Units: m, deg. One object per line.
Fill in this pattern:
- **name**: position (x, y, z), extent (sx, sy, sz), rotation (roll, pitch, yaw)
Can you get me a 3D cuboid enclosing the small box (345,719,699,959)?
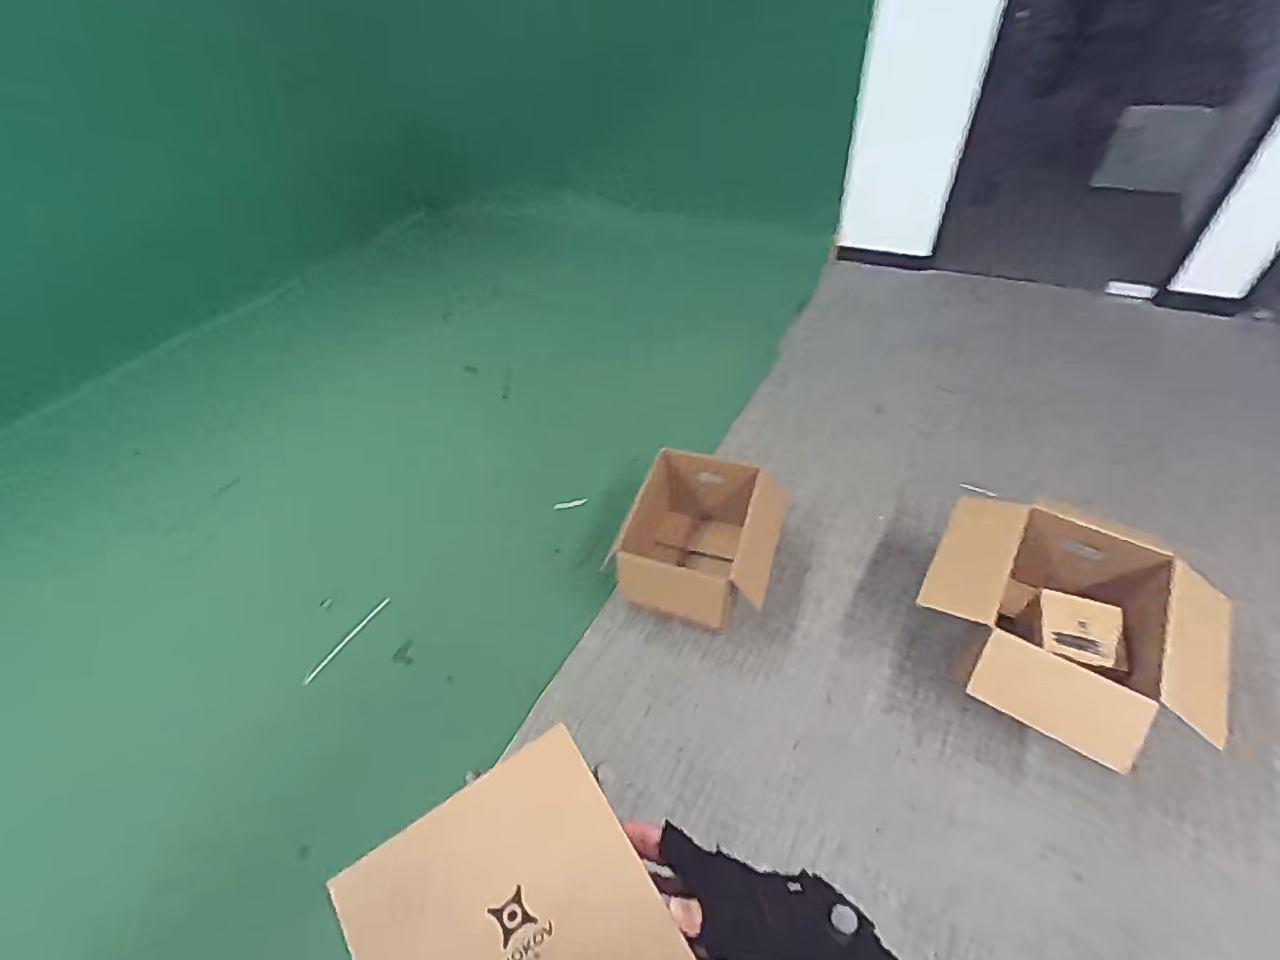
- **small box**: position (-0.083, 0.311, 0.399), extent (0.168, 0.176, 0.179), rotation (-26, 67, -21)
